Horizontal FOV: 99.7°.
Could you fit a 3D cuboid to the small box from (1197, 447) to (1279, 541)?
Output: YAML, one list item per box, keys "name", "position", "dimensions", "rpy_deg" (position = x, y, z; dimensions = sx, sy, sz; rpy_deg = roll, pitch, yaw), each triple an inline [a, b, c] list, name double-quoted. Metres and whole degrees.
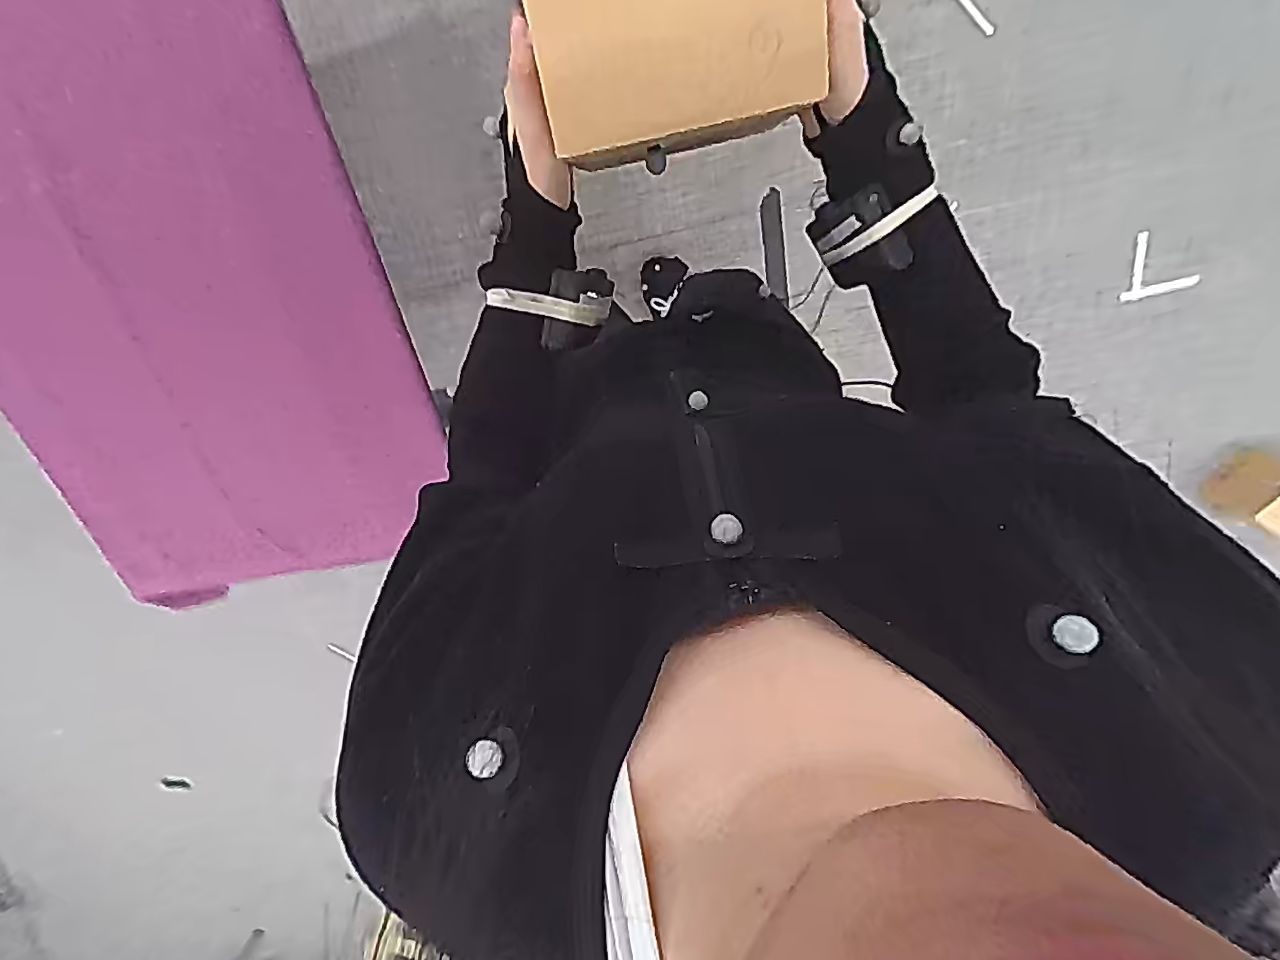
- name: "small box"
  position: [1.701, 0.036, 1.463]
  dimensions: [0.179, 0.176, 0.168]
  rpy_deg: [30, 113, -11]

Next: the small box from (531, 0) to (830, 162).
- name: "small box"
  position: [0.021, -0.324, 0.358]
  dimensions: [0.168, 0.176, 0.179]
  rpy_deg: [-8, 115, 6]
